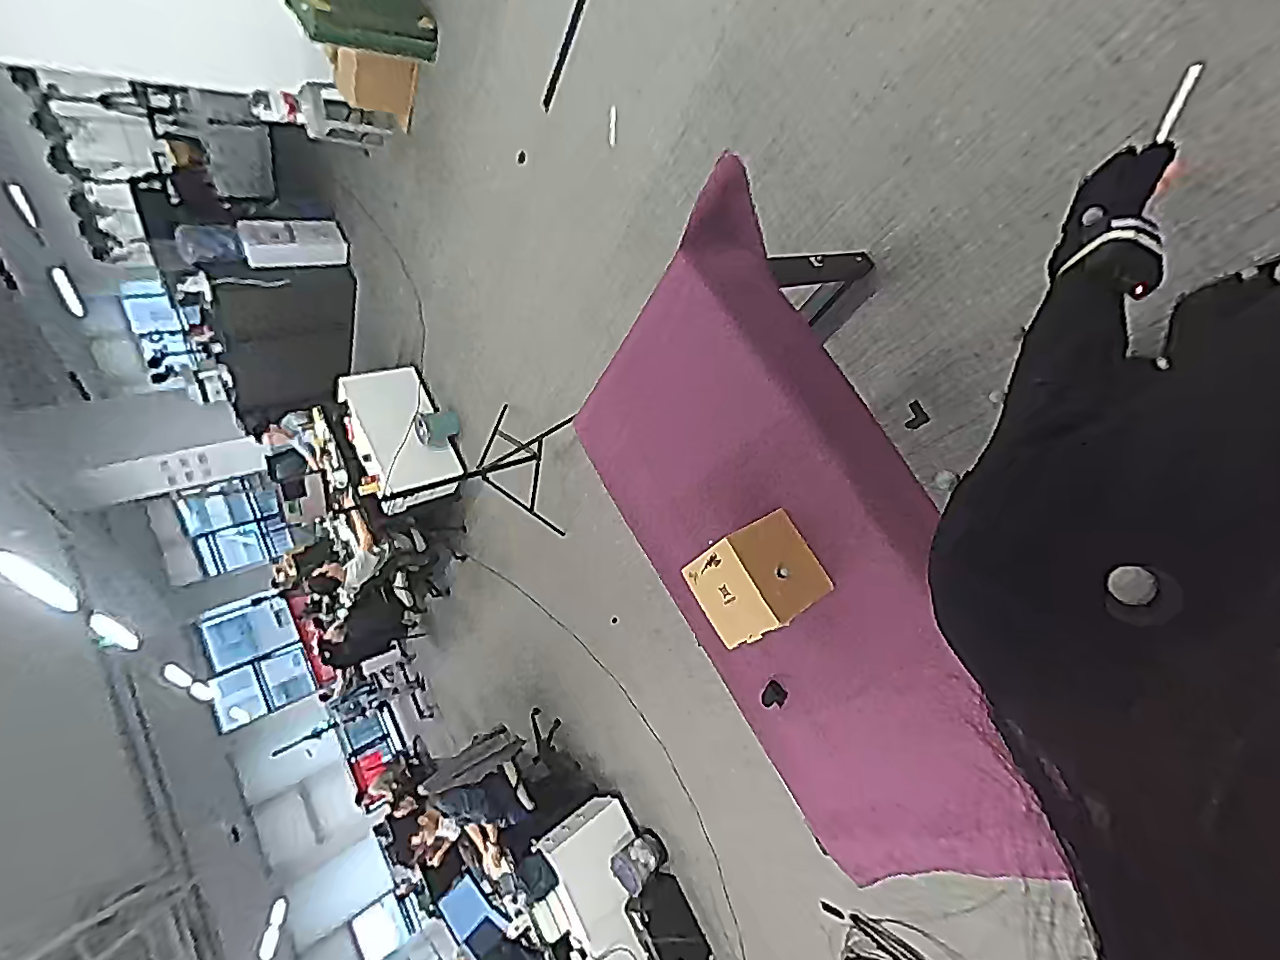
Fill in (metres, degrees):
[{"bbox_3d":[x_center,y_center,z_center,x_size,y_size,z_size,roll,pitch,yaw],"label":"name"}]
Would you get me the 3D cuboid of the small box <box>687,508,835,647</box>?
[{"bbox_3d":[0.227,0.180,1.016,0.179,0.176,0.168,58,143,14],"label":"small box"}]
